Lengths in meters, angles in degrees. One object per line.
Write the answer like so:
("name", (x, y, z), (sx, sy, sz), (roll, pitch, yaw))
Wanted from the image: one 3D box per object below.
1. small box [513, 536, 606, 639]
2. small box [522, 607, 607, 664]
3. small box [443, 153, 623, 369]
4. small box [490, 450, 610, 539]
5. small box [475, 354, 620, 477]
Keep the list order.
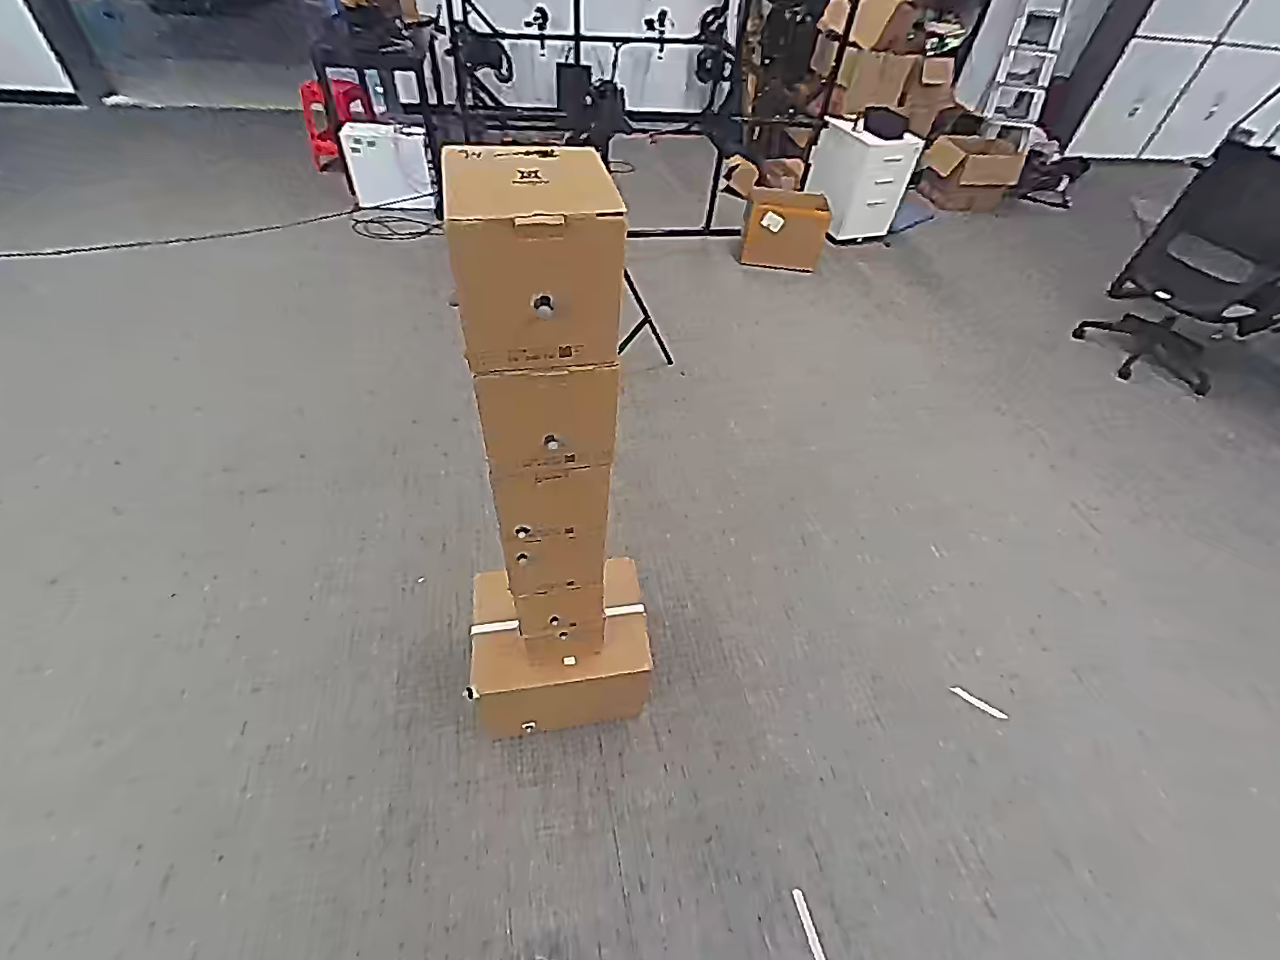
("small box", (-0.165, 0.195, 1.090), (0.168, 0.176, 0.179), (-6, 50, -11))
("small box", (-0.175, 0.297, 1.217), (0.179, 0.176, 0.168), (-6, 50, -13))
("small box", (-0.117, -0.237, 0.599), (0.168, 0.176, 0.179), (-8, 51, -13))
("small box", (-0.139, -0.020, 0.844), (0.168, 0.176, 0.179), (-4, 49, -10))
("small box", (-0.125, -0.127, 0.720), (0.168, 0.176, 0.179), (-7, 51, -11))
